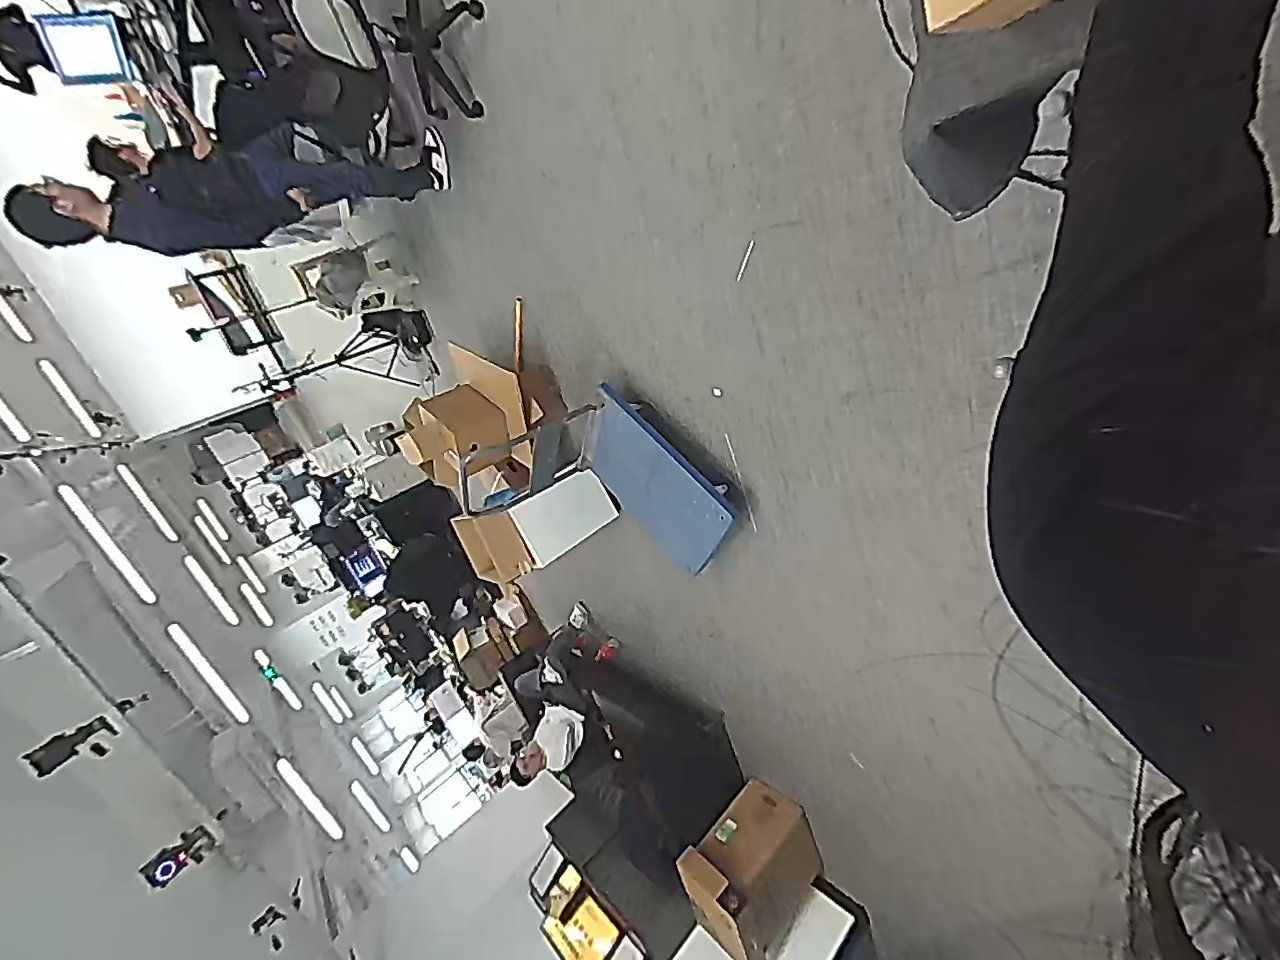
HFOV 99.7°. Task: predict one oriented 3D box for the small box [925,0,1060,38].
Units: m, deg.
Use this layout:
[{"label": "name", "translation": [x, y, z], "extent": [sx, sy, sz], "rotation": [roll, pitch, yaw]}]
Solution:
[{"label": "small box", "translation": [0.341, -0.495, 0.428], "extent": [0.179, 0.176, 0.168], "rotation": [6, 122, 52]}]
